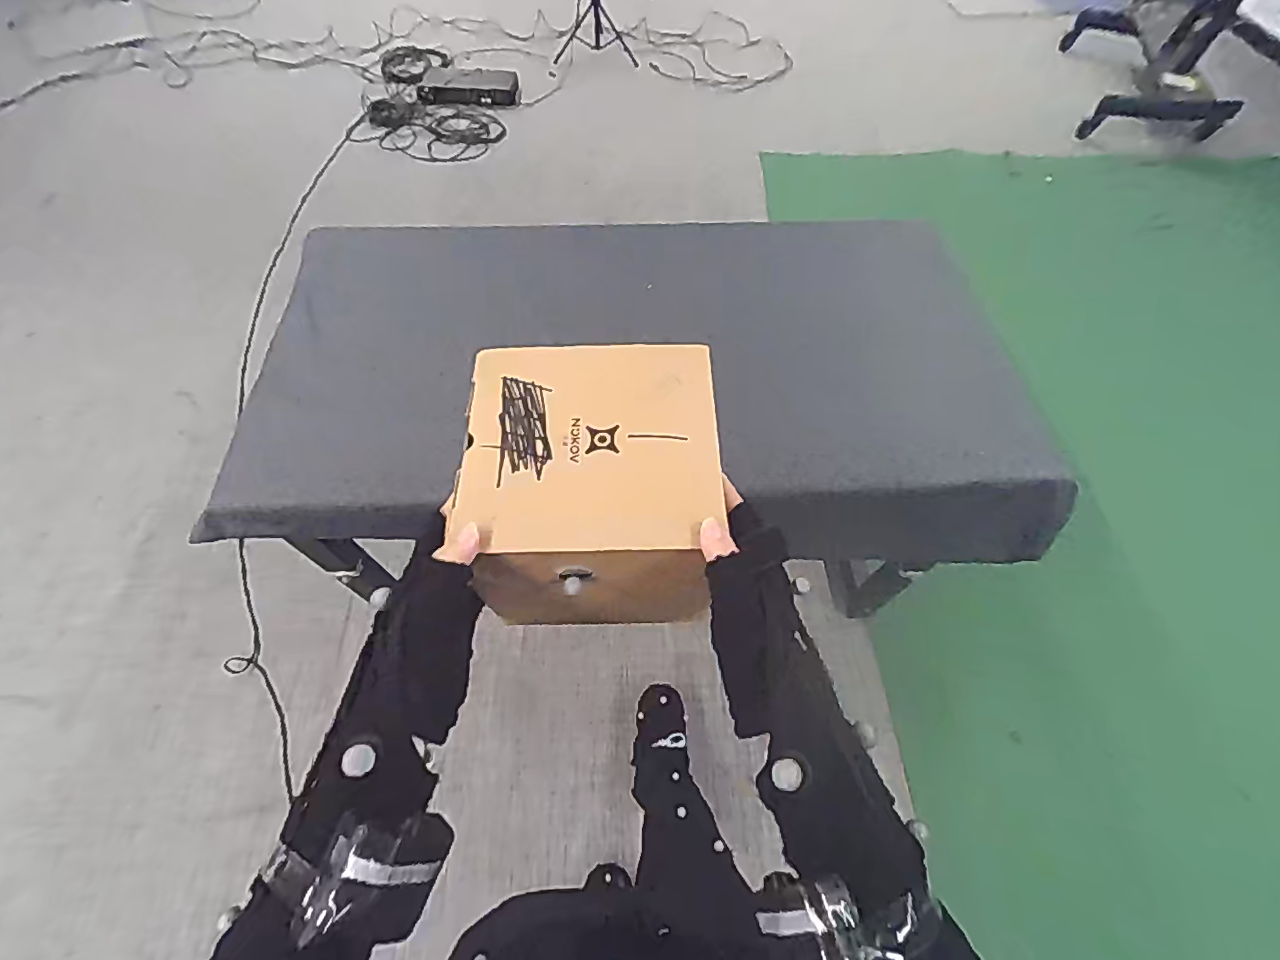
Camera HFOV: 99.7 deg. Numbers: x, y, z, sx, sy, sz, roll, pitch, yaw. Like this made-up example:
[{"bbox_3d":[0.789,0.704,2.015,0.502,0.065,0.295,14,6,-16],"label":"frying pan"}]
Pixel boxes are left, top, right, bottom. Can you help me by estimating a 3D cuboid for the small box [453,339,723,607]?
[{"bbox_3d":[-0.032,0.003,0.449,0.179,0.176,0.168,-1,60,0],"label":"small box"}]
